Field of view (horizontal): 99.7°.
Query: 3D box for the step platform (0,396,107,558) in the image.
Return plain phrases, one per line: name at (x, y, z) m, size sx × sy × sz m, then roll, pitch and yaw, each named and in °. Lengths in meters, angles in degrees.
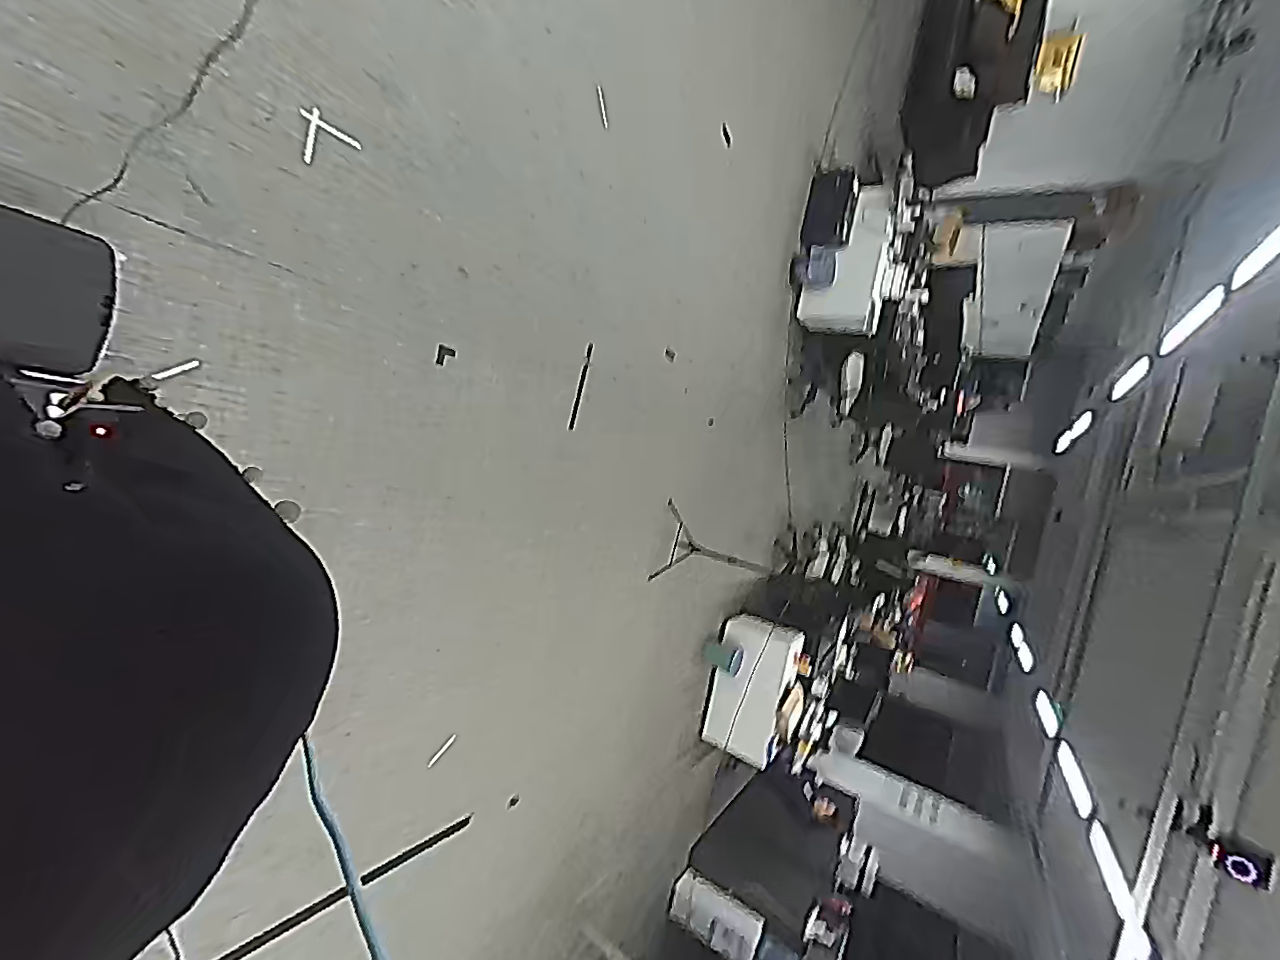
step platform at (-1.283, -0.048, 0.811) m, size 0.684 × 0.204 × 0.286 m, roll 17°, pitch 85°, yaw -56°
